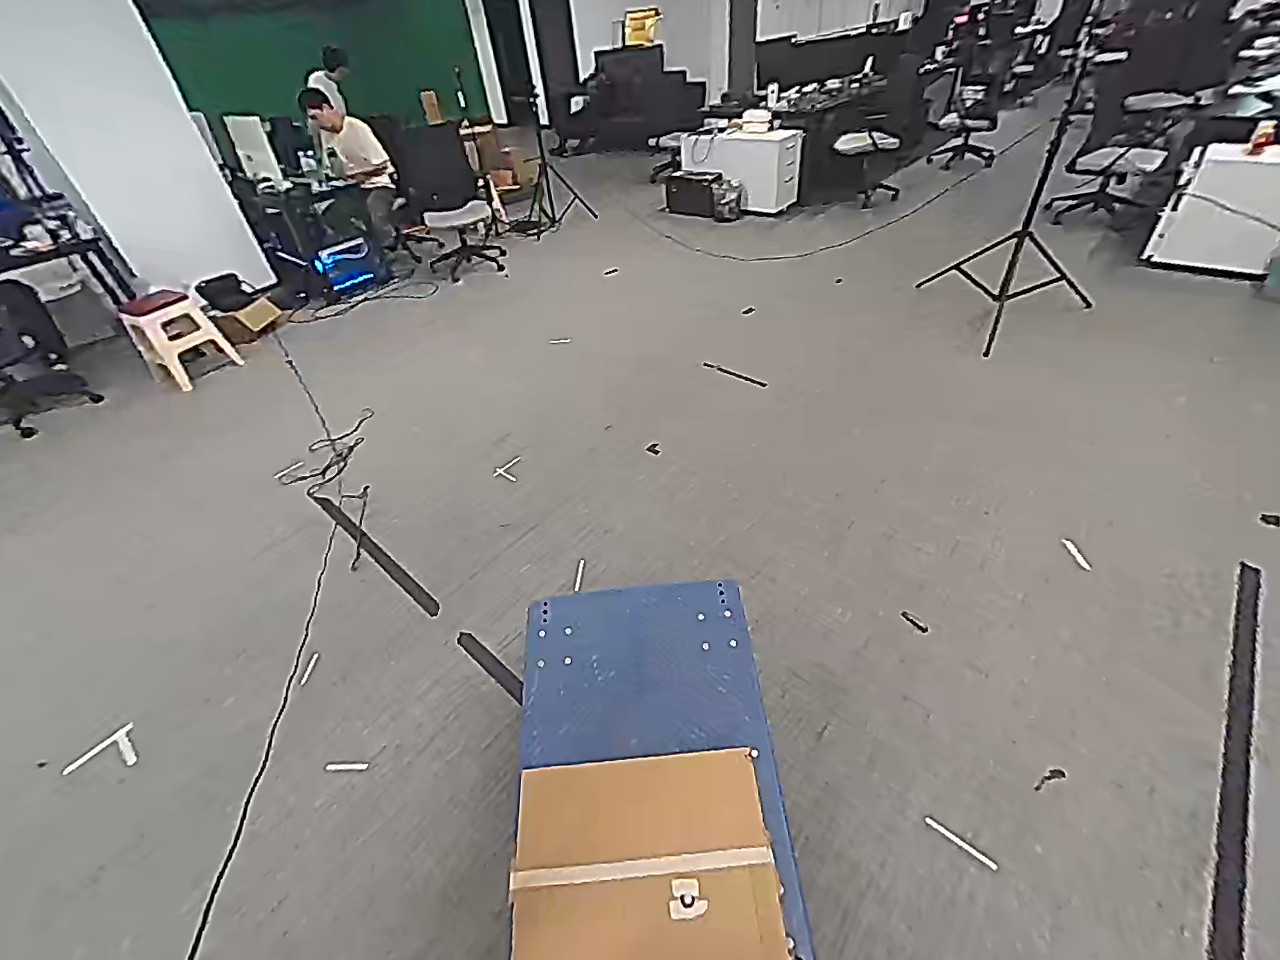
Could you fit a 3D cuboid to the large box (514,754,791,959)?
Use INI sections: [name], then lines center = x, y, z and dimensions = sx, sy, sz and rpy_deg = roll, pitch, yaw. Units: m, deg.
[large box]
center = 0.013, 0.710, 0.949
dimensions = 0.408, 0.320, 0.320
rpy_deg = -7, 51, 0
